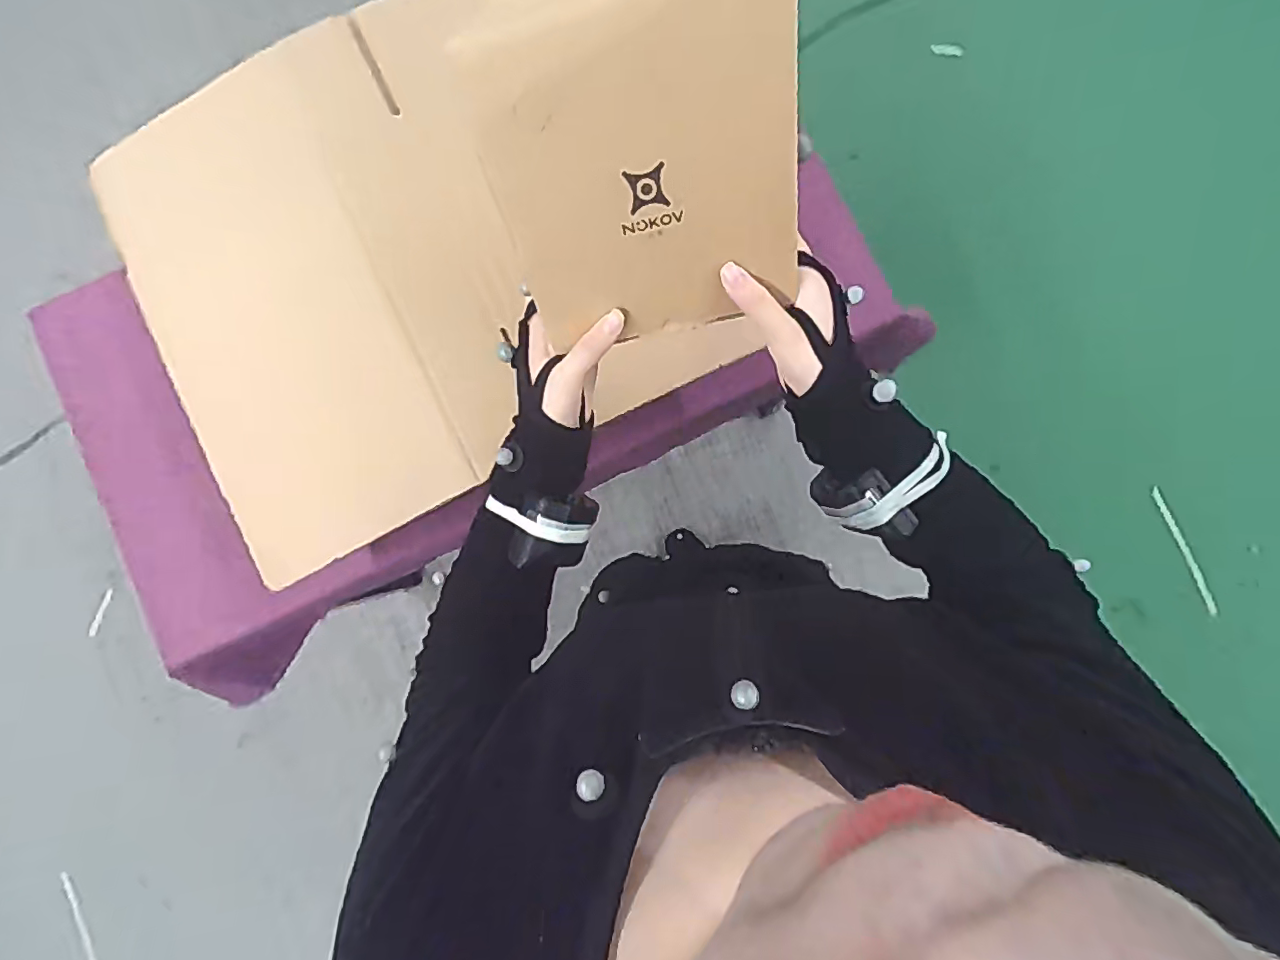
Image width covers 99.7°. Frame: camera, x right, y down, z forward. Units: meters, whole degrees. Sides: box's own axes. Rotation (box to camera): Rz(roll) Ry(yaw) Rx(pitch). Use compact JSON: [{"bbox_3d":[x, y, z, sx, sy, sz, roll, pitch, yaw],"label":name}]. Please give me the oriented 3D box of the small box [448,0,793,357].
[{"bbox_3d":[0.000,-0.214,0.358,0.168,0.179,0.176,-10,49,8],"label":"small box"}]
